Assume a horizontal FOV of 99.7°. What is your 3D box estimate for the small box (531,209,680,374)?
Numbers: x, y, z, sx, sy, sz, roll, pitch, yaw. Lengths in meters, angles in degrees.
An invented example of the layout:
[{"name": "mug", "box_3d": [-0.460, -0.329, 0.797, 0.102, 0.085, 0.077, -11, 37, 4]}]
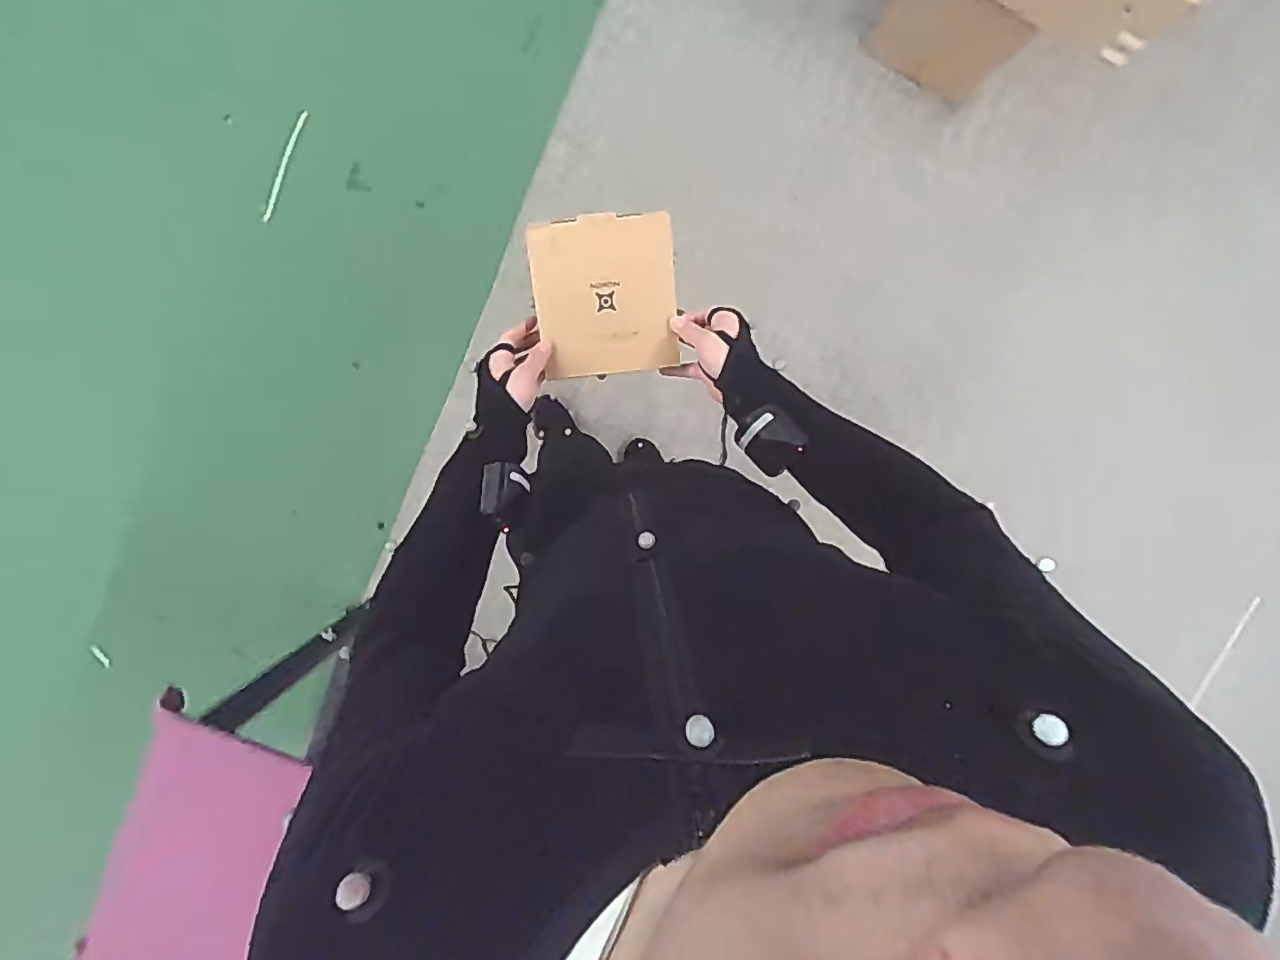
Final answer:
[{"name": "small box", "box_3d": [-0.041, -0.237, 0.704, 0.168, 0.176, 0.179, -4, 107, -1]}]
